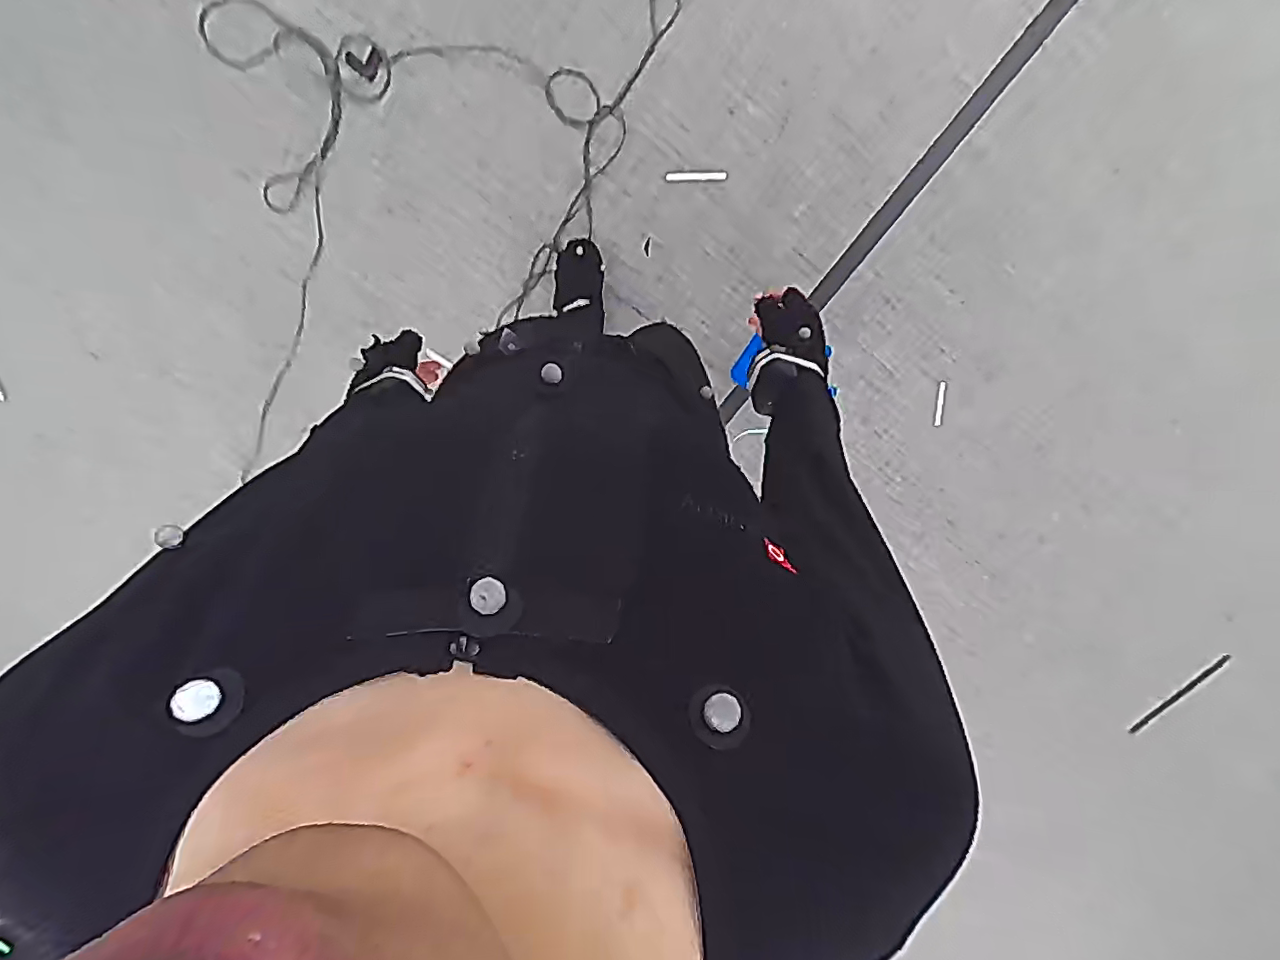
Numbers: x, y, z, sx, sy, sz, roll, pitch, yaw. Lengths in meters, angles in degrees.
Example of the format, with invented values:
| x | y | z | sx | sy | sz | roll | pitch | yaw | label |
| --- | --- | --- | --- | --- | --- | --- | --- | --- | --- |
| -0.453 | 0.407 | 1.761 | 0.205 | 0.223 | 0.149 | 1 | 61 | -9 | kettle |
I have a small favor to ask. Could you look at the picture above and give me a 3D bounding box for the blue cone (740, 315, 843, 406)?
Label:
| x | y | z | sx | sy | sz | roll | pitch | yaw | label |
| --- | --- | --- | --- | --- | --- | --- | --- | --- | --- |
| 0.374 | -0.247 | 1.243 | 0.192 | 0.380 | 0.193 | 30 | 108 | -13 | blue cone |
